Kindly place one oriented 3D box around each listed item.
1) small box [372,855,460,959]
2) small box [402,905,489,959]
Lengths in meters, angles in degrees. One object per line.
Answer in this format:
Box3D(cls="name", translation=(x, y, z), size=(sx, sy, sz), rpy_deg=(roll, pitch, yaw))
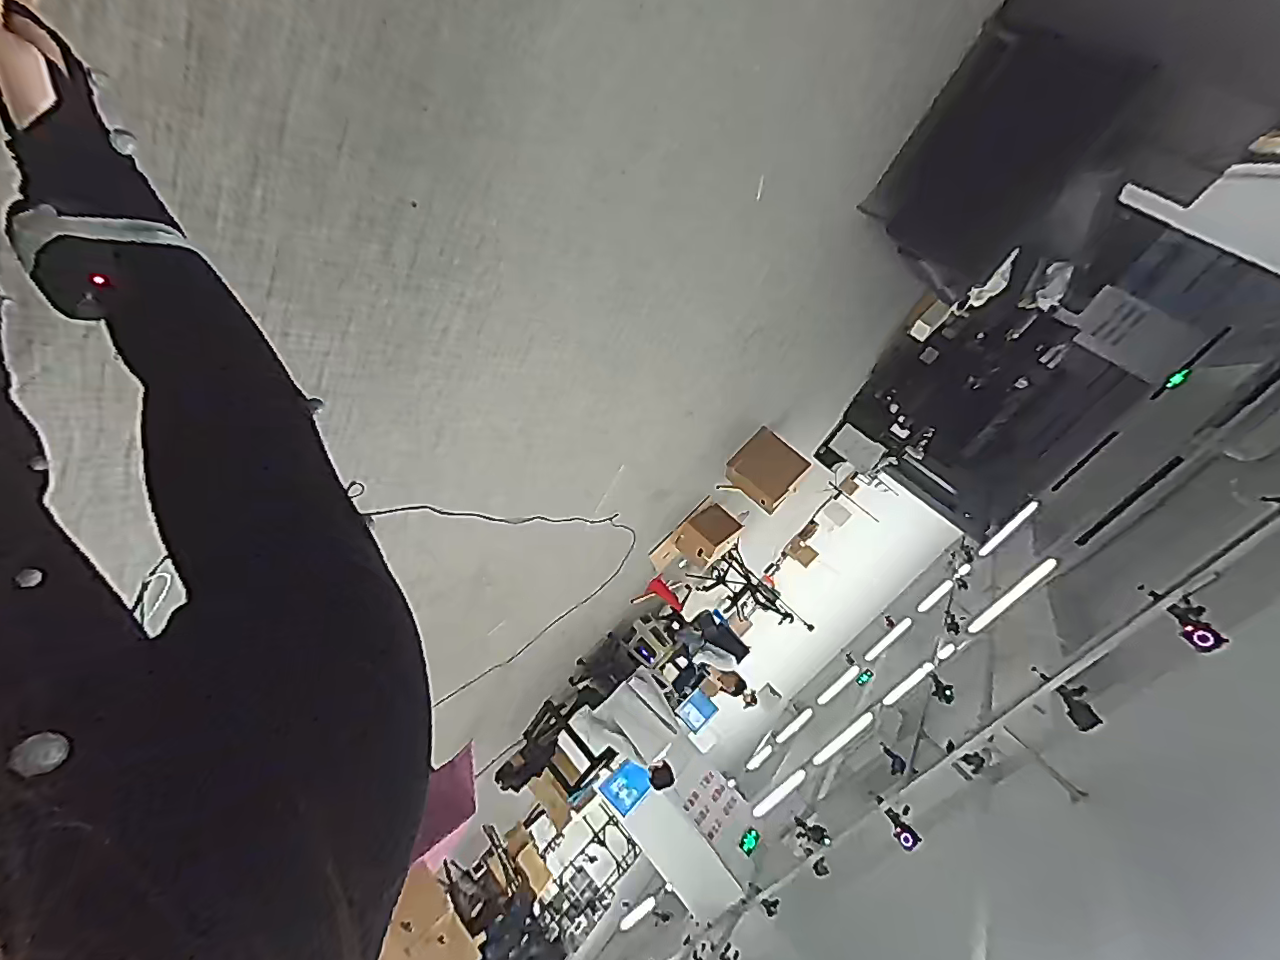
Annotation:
Box3D(cls="small box", translation=(-0.702, 1.332, 1.684), size=(0.179, 0.176, 0.168), rpy_deg=(-15, 143, -54))
Box3D(cls="small box", translation=(-0.595, 1.443, 1.633), size=(0.168, 0.176, 0.179), rpy_deg=(-14, 141, -54))
